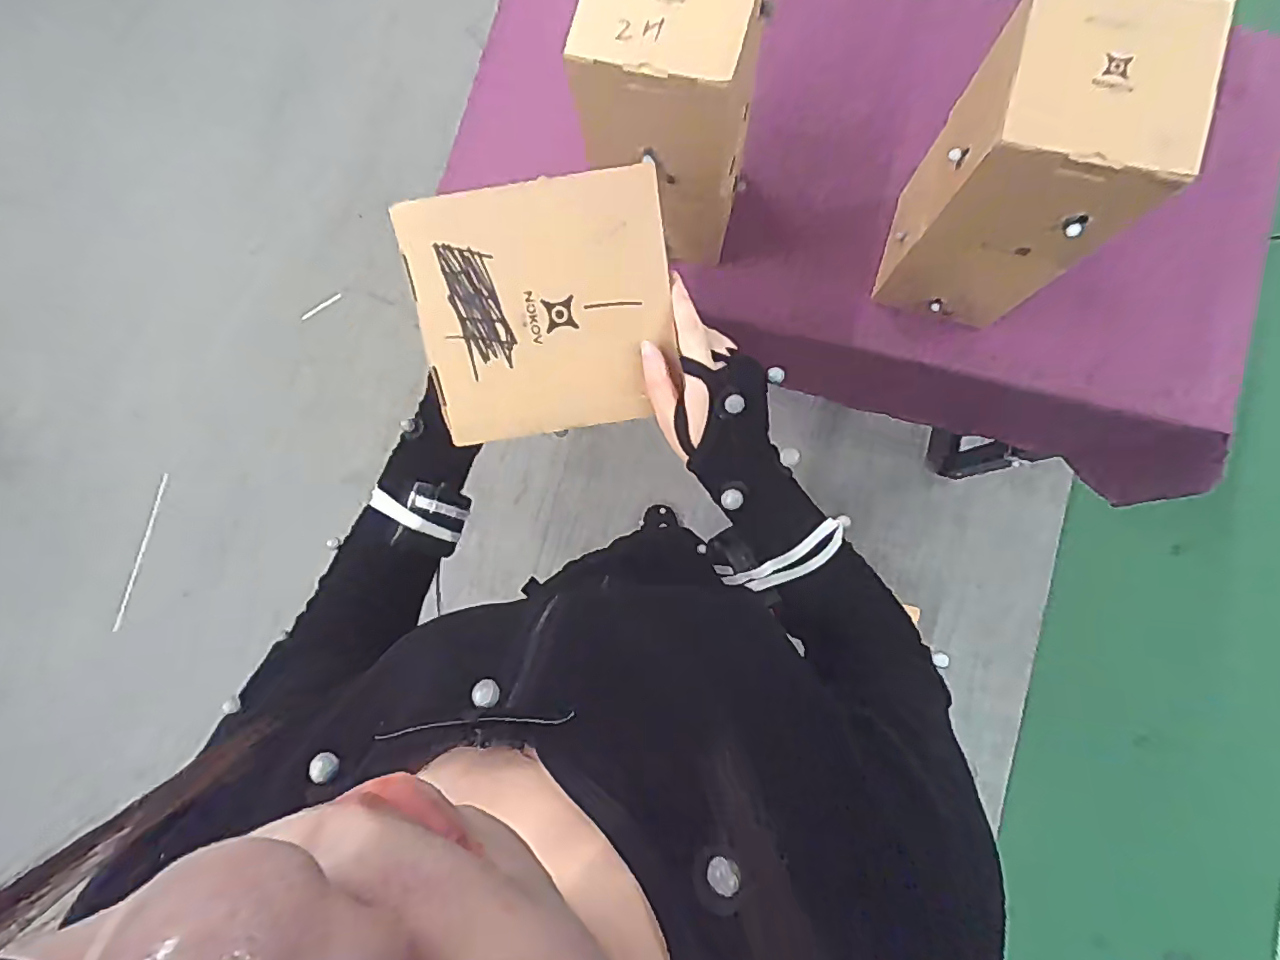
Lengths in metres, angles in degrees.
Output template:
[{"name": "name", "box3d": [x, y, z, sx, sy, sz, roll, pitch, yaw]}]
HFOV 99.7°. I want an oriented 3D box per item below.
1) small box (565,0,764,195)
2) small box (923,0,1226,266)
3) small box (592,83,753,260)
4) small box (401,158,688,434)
[{"name": "small box", "box3d": [0.034, -0.457, 0.595, 0.168, 0.176, 0.179, 15, 86, 6]}, {"name": "small box", "box3d": [0.419, -0.350, 0.556, 0.168, 0.176, 0.179, 15, 85, 6]}, {"name": "small box", "box3d": [0.045, -0.435, 0.759, 0.179, 0.176, 0.168, 14, 85, 5]}, {"name": "small box", "box3d": [-0.063, -0.147, 0.450, 0.179, 0.176, 0.168, -9, 110, 0]}]
